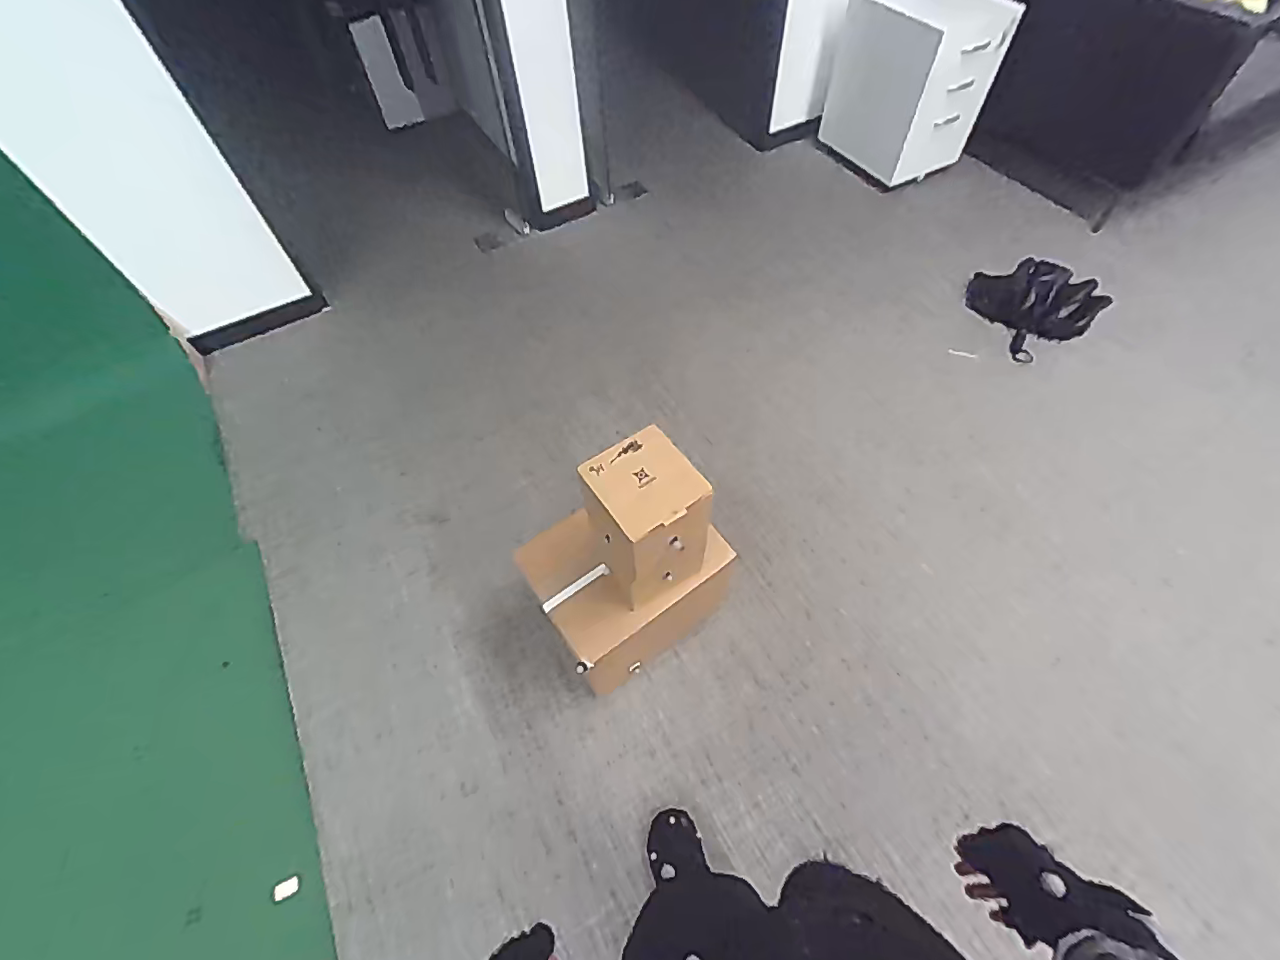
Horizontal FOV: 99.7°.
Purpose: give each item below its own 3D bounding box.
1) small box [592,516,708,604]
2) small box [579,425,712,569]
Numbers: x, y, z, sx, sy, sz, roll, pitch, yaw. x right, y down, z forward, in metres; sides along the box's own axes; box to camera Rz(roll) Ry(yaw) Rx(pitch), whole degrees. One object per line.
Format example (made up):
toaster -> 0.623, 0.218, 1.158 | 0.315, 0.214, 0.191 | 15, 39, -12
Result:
small box -> 0.019, 0.127, 1.118 | 0.179, 0.176, 0.168 | -29, 61, -14
small box -> 0.011, 0.041, 0.979 | 0.168, 0.176, 0.179 | -31, 62, -16
